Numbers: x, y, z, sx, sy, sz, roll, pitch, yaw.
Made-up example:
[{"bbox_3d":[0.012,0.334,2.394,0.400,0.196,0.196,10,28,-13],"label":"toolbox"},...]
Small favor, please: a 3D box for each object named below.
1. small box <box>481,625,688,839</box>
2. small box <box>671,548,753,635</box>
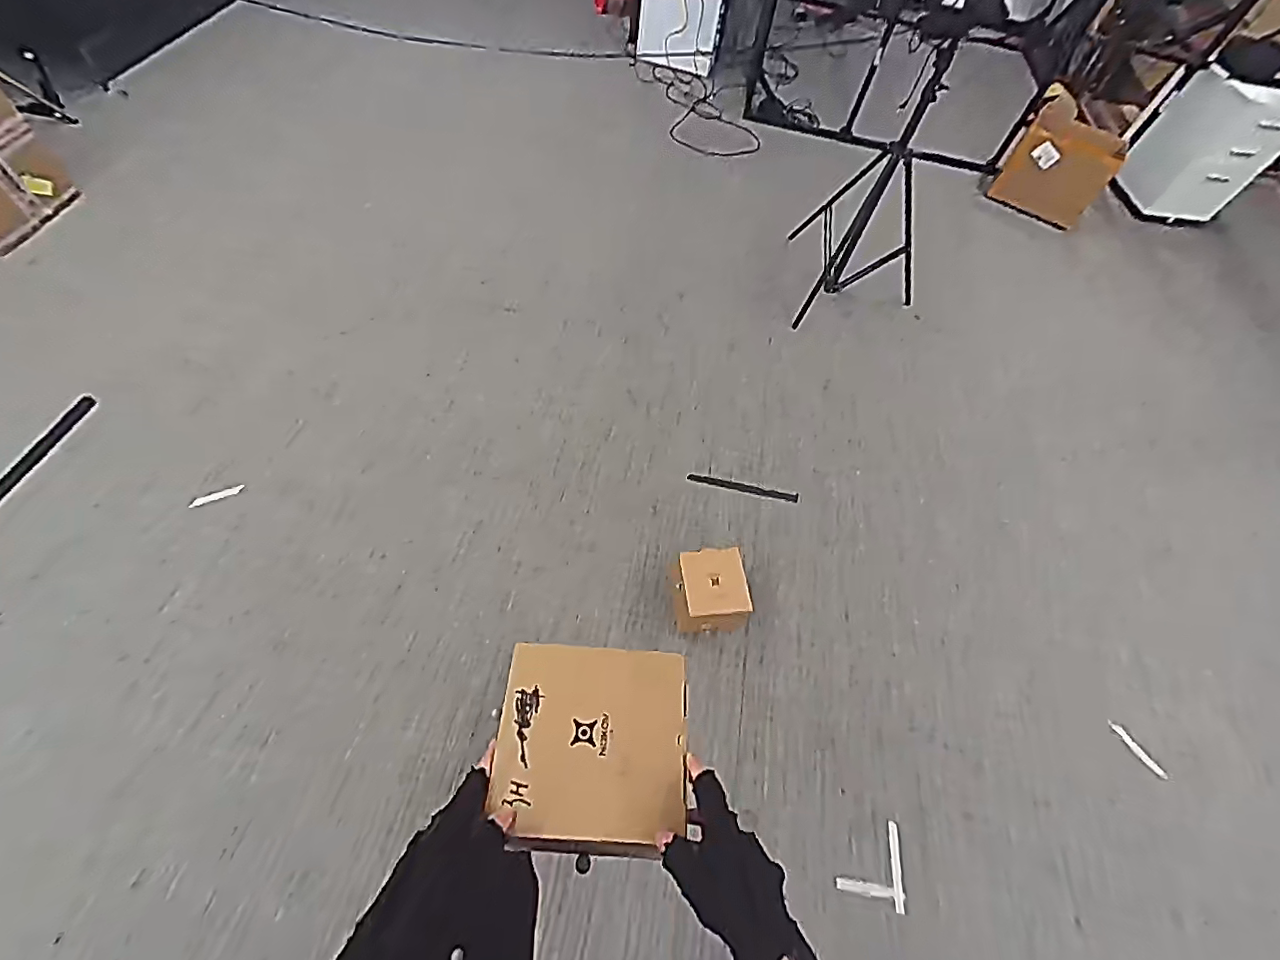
[{"bbox_3d":[-0.050,0.268,0.565,0.179,0.176,0.168,5,52,-2],"label":"small box"},{"bbox_3d":[0.183,0.301,1.450,0.168,0.176,0.179,-4,59,-9],"label":"small box"}]
